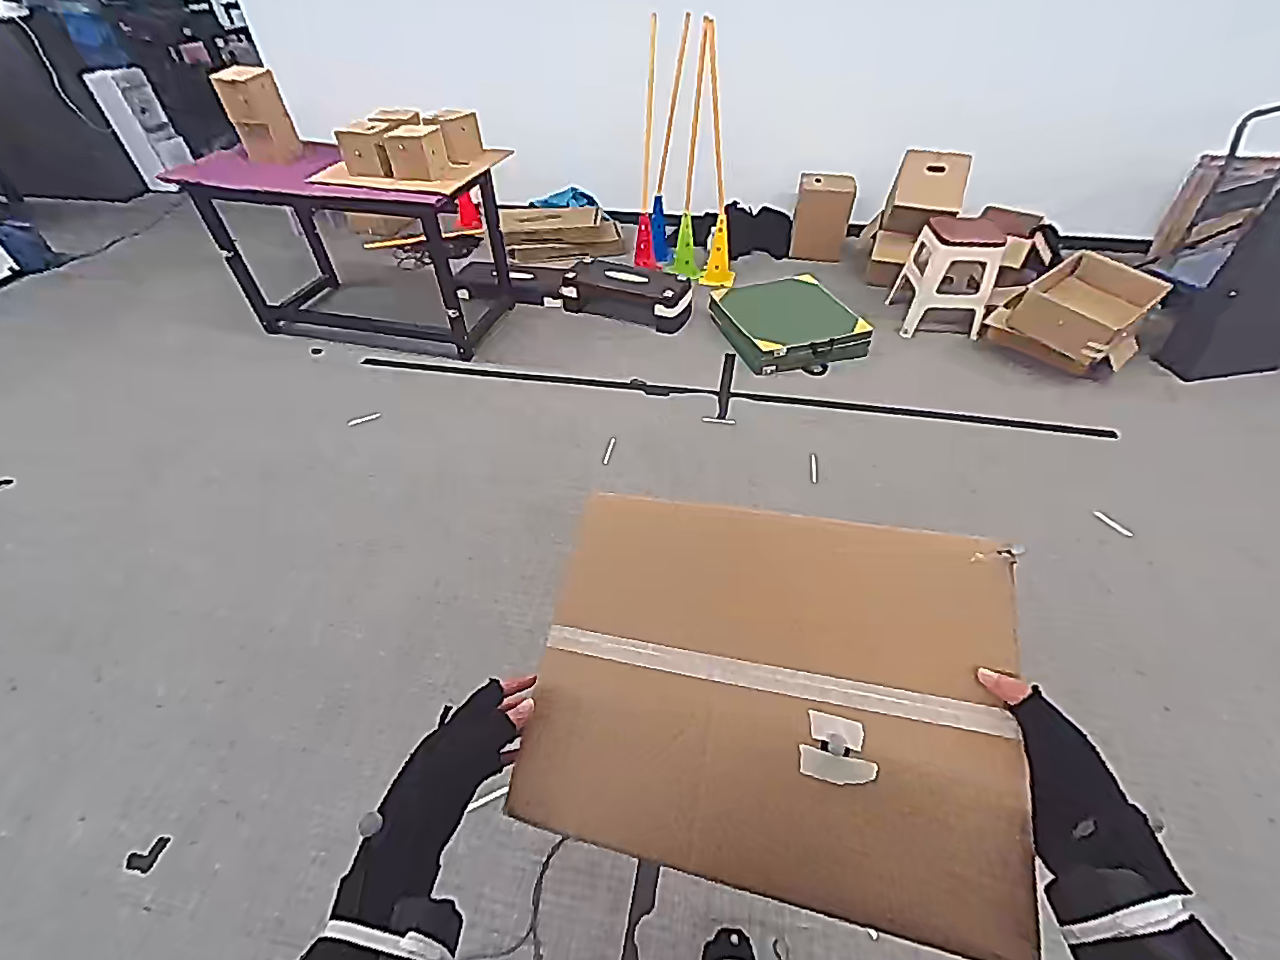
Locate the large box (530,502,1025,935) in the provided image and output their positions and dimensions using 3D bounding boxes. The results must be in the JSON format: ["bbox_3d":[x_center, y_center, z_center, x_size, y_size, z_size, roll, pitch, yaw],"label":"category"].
[{"bbox_3d":[0.146,0.243,0.630,0.408,0.320,0.320,6,66,16],"label":"large box"}]
